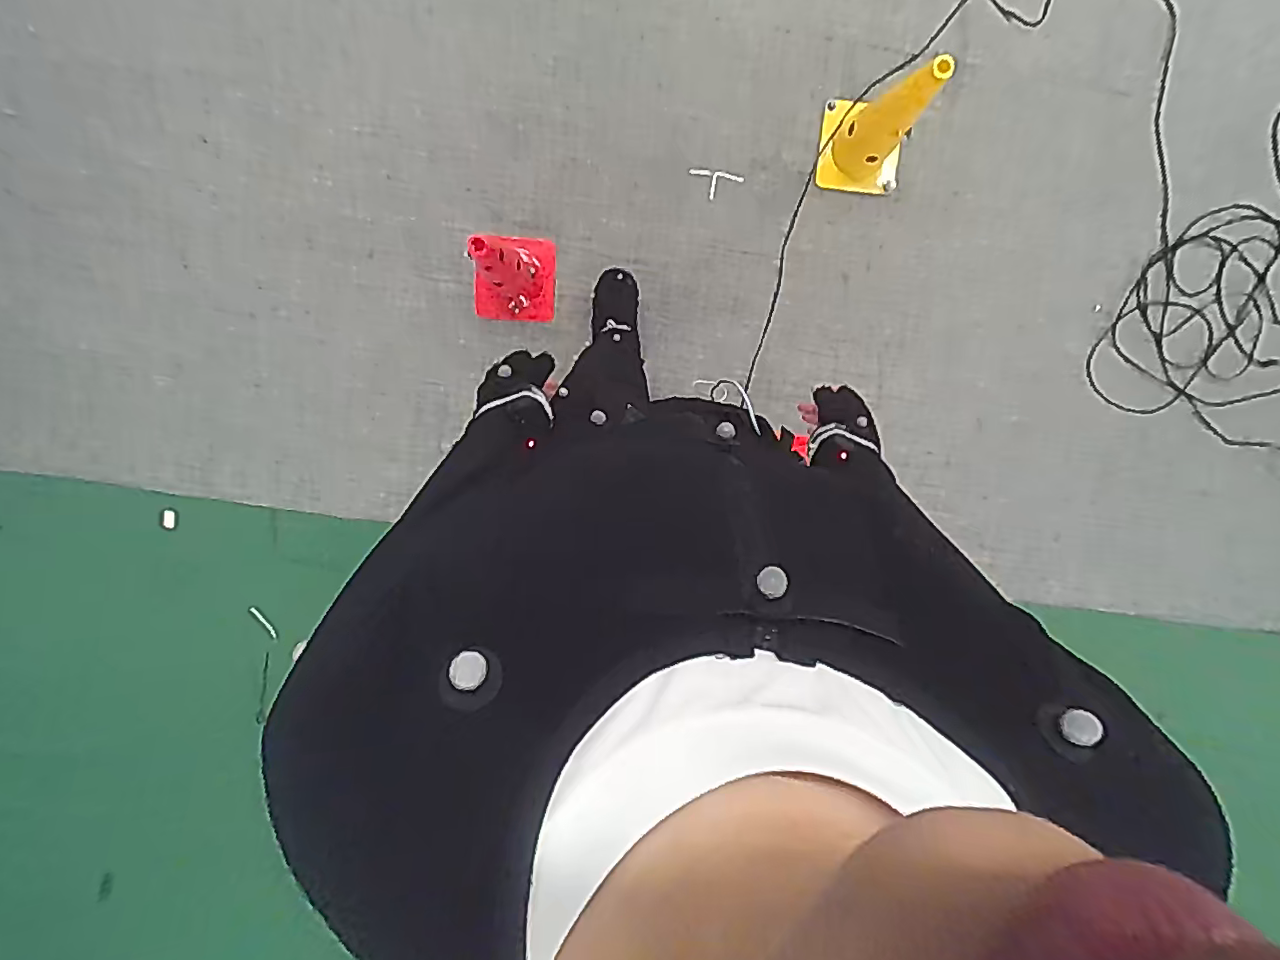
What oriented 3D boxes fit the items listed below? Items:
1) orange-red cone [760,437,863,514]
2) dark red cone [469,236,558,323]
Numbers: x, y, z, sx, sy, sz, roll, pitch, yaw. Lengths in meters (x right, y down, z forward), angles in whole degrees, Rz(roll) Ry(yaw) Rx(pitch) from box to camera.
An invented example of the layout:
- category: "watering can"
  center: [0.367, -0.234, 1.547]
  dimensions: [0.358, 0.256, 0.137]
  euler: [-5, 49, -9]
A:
- category: "orange-red cone"
  center: [0.441, 0.017, 1.305]
  dimensions: [0.198, 0.360, 0.199]
  euler: [8, 99, -4]
- category: "dark red cone"
  center: [-0.303, -0.461, 1.177]
  dimensions: [0.202, 0.394, 0.201]
  euler: [2, 101, -2]
